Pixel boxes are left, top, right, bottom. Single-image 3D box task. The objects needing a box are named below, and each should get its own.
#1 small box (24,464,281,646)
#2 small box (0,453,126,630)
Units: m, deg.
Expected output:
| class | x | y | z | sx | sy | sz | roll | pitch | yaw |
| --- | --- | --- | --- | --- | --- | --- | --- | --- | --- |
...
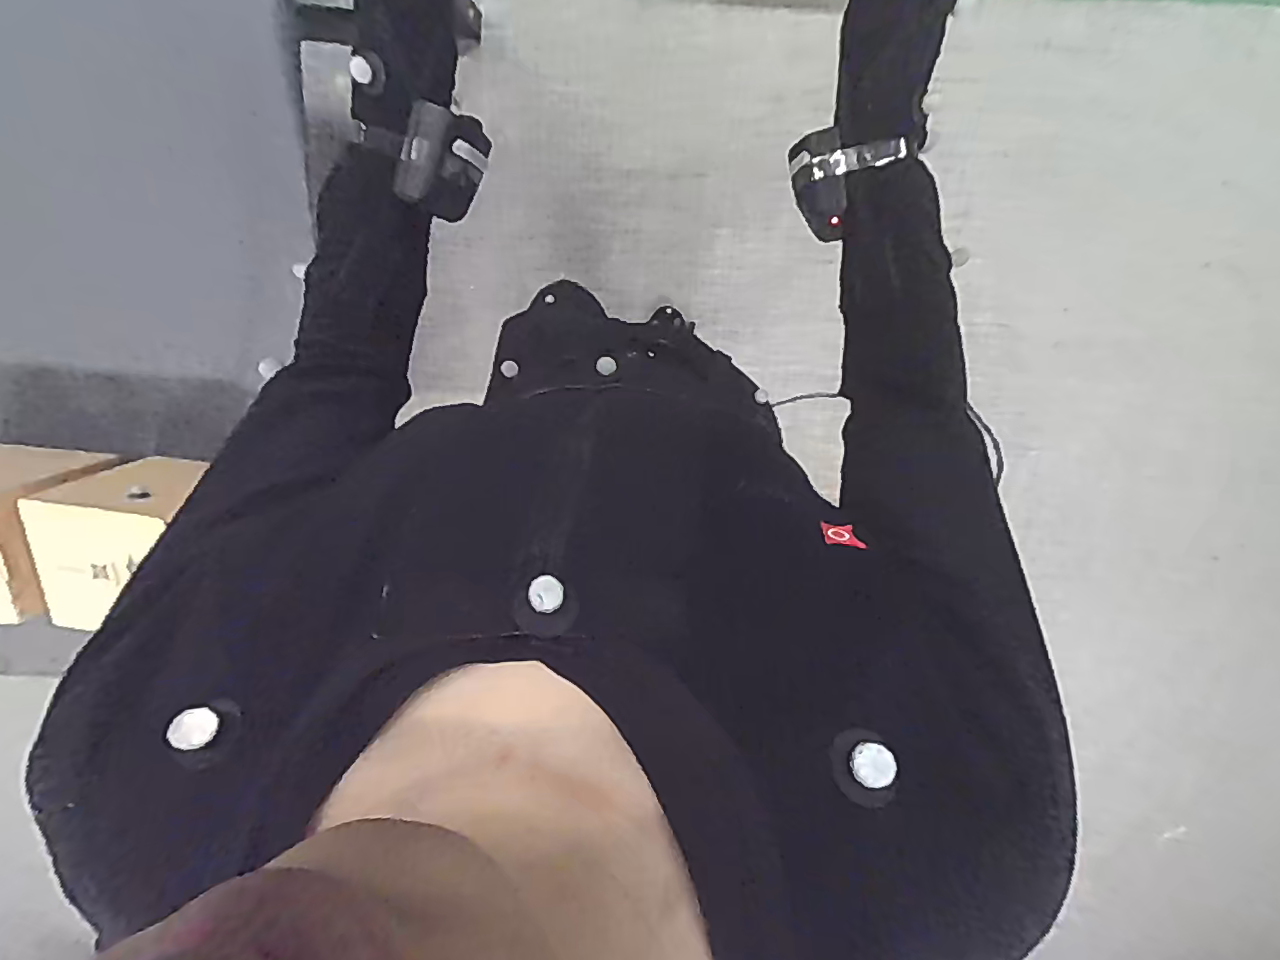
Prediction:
| class | x | y | z | sx | sy | sz | roll | pitch | yaw |
| --- | --- | --- | --- | --- | --- | --- | --- | --- | --- |
| small box | -0.597 | 0.086 | 0.695 | 0.179 | 0.176 | 0.168 | 7 | 109 | 2 |
| small box | -0.813 | 0.068 | 0.699 | 0.179 | 0.176 | 0.168 | 6 | 109 | 1 |
